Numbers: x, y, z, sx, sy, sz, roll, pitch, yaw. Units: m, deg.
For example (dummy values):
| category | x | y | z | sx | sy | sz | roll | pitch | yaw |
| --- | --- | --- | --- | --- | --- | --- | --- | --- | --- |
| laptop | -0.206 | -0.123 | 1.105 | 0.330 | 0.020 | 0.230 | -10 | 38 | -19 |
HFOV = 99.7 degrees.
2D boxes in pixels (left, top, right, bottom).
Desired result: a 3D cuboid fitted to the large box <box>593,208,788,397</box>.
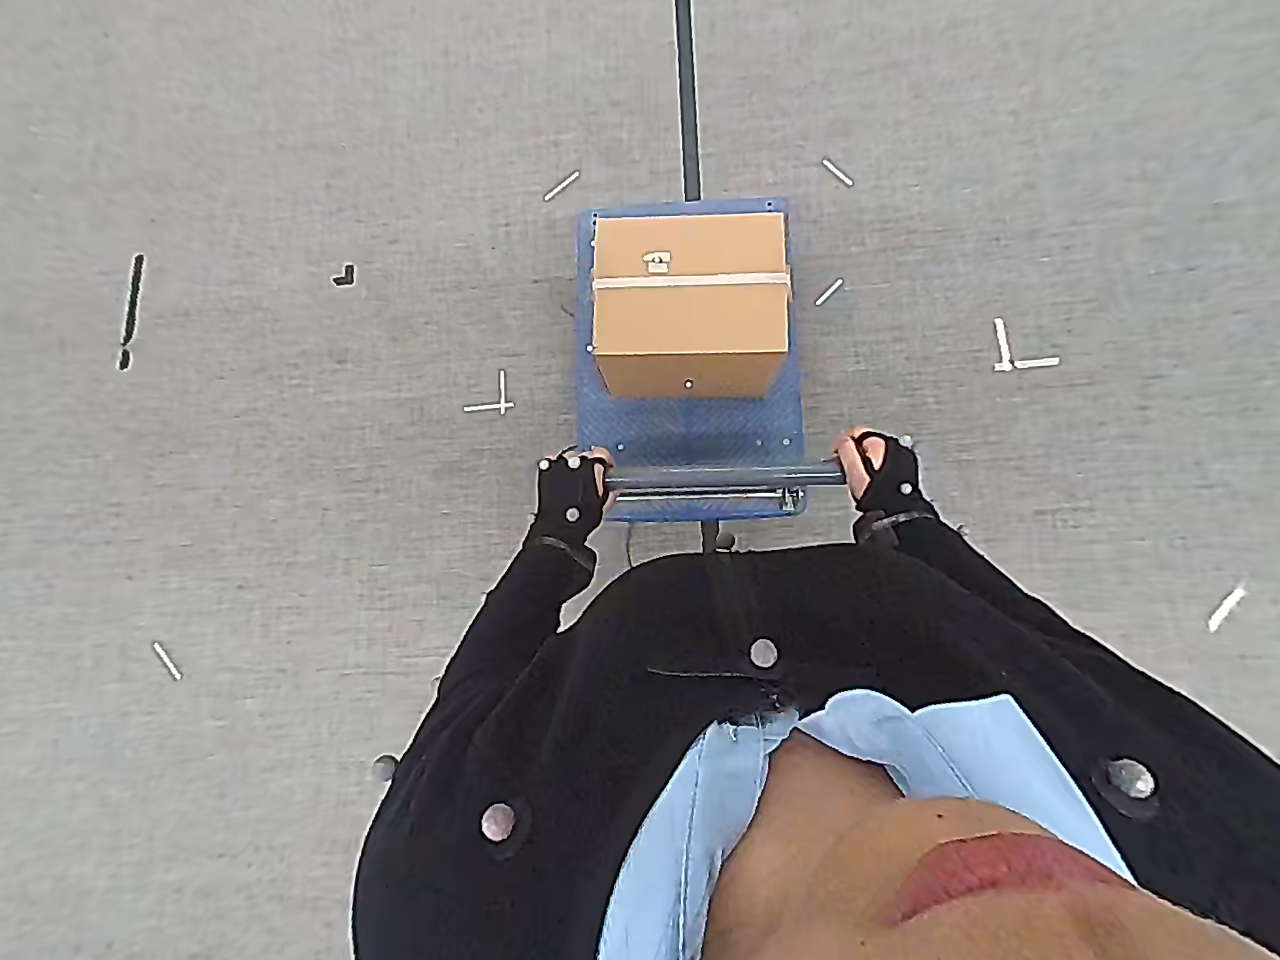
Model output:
| category | x | y | z | sx | sy | sz | roll | pitch | yaw |
| --- | --- | --- | --- | --- | --- | --- | --- | --- | --- |
| large box | 0.115 | -0.390 | 1.267 | 0.408 | 0.320 | 0.320 | 0 | 80 | 6 |
